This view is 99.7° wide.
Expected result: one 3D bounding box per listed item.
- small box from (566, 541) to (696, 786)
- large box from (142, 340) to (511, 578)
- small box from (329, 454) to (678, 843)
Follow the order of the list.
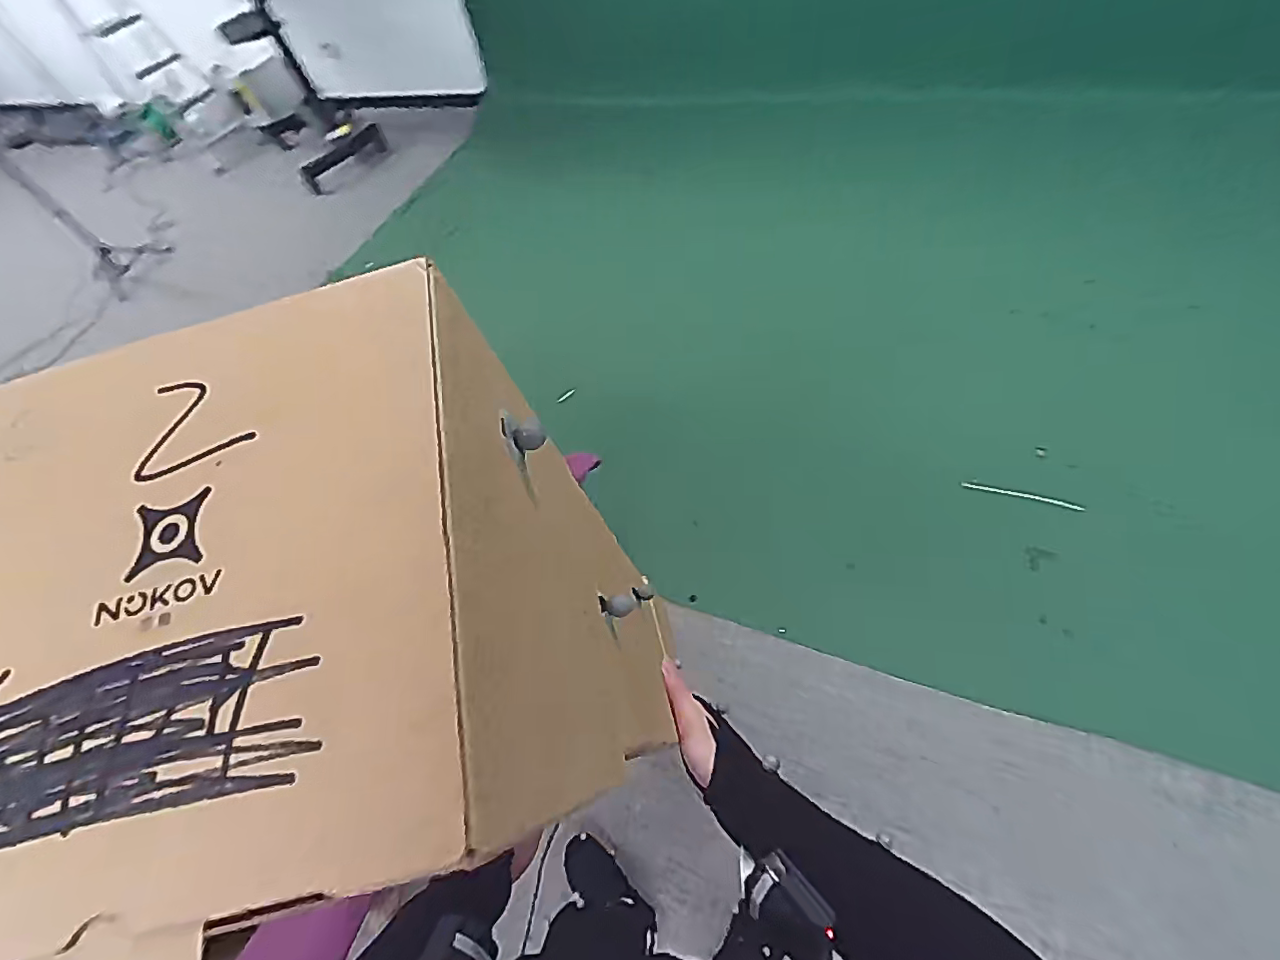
[{"bbox_3d":[-0.051,0.182,0.511,0.168,0.176,0.179,-17,64,3],"label":"small box"},{"bbox_3d":[-0.507,-0.007,0.957,0.408,0.320,0.320,14,62,18],"label":"large box"},{"bbox_3d":[-0.079,0.113,0.367,0.168,0.176,0.179,-17,64,2],"label":"small box"}]
